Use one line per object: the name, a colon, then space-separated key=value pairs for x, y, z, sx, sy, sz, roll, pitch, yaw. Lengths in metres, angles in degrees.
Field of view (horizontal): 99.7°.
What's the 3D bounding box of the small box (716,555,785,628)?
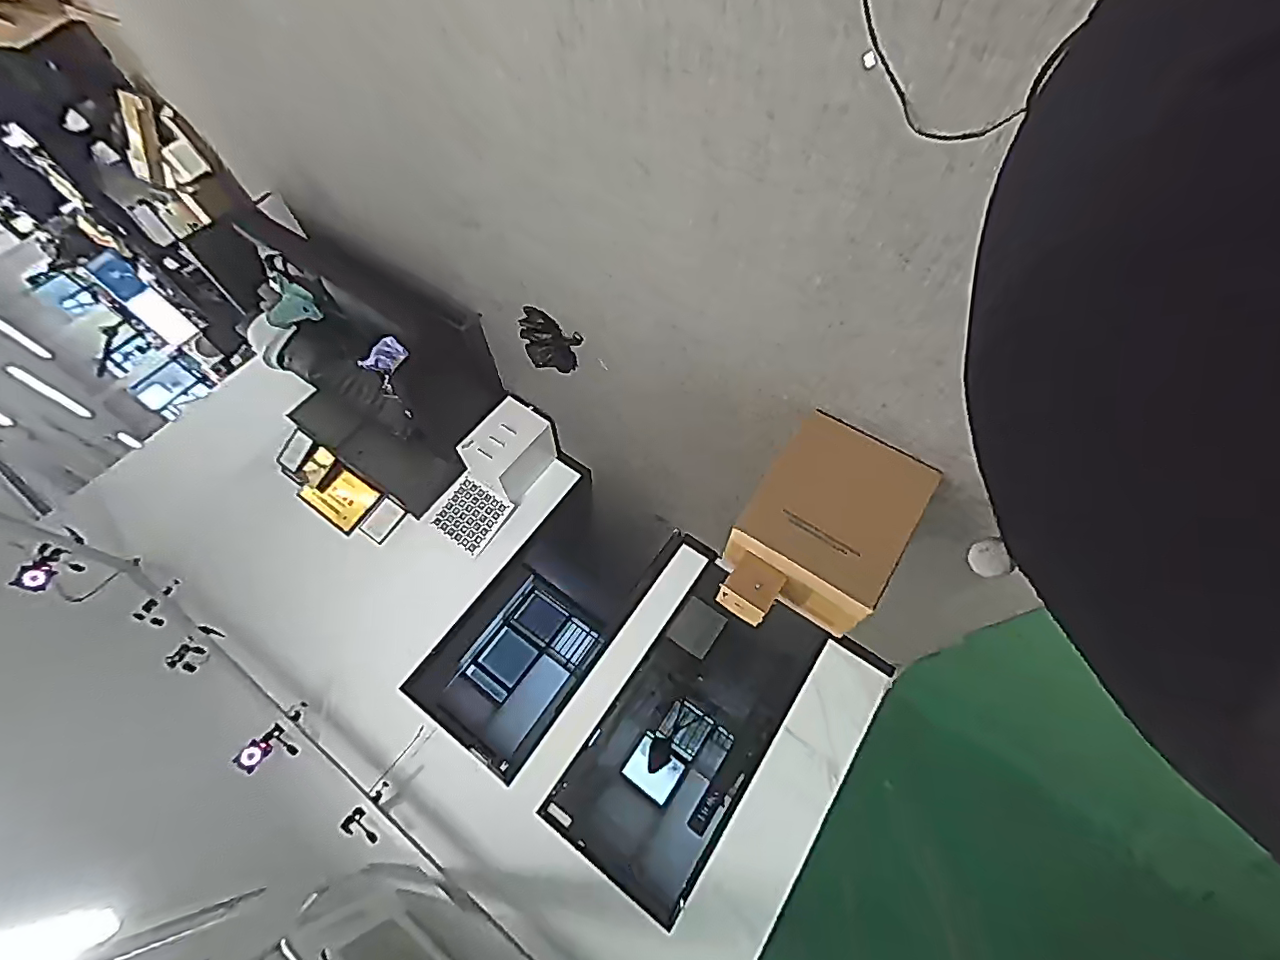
small box: x=0.403 y=0.405 z=1.972 sx=0.179 sy=0.176 sz=0.168 roll=32 pitch=152 yaw=15
